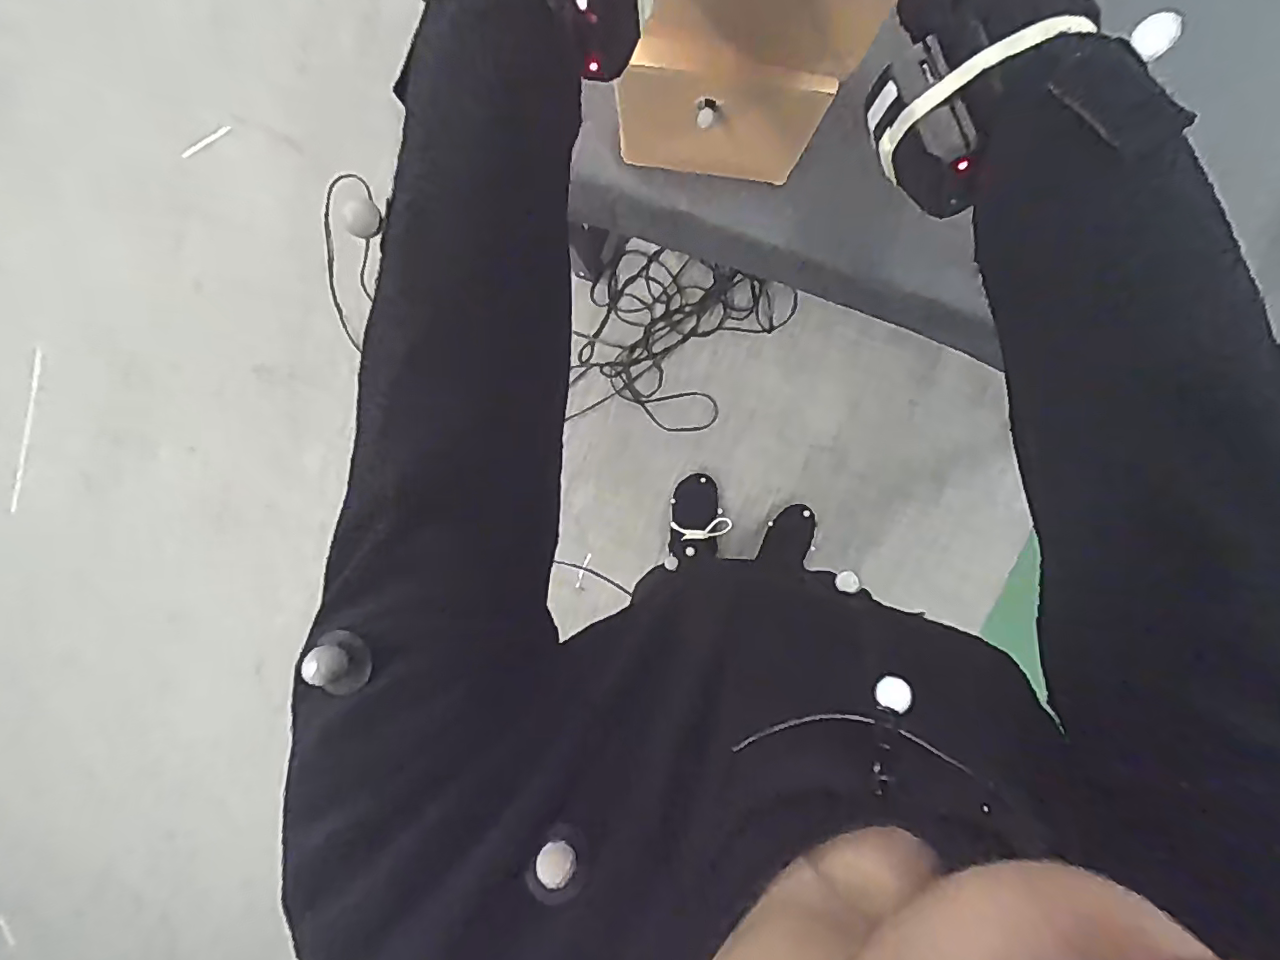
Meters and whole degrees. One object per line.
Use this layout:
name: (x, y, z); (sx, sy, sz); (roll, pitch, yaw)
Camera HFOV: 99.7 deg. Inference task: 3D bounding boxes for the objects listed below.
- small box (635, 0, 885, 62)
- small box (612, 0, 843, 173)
small box: (0.091, -0.392, 0.316); (0.179, 0.176, 0.168); (13, 99, -1)
small box: (0.079, -0.397, 0.478); (0.179, 0.176, 0.168); (9, 98, 1)
